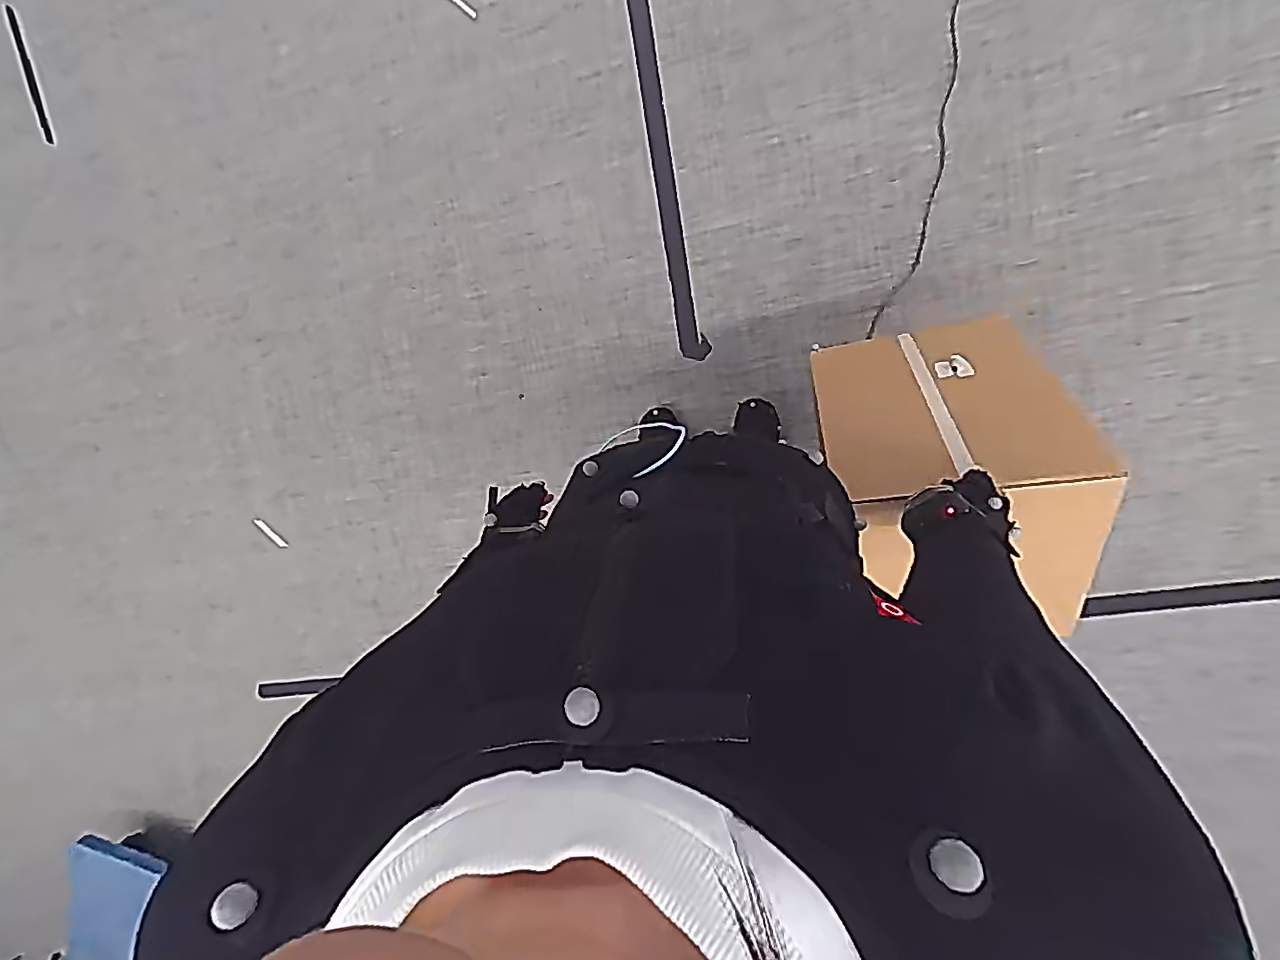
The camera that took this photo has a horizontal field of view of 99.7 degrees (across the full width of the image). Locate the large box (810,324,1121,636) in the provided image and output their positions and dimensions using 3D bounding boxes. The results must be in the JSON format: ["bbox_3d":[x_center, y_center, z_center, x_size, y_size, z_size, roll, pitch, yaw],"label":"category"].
[{"bbox_3d":[0.473,-0.004,0.892,0.320,0.408,0.320,-6,129,16],"label":"large box"}]
